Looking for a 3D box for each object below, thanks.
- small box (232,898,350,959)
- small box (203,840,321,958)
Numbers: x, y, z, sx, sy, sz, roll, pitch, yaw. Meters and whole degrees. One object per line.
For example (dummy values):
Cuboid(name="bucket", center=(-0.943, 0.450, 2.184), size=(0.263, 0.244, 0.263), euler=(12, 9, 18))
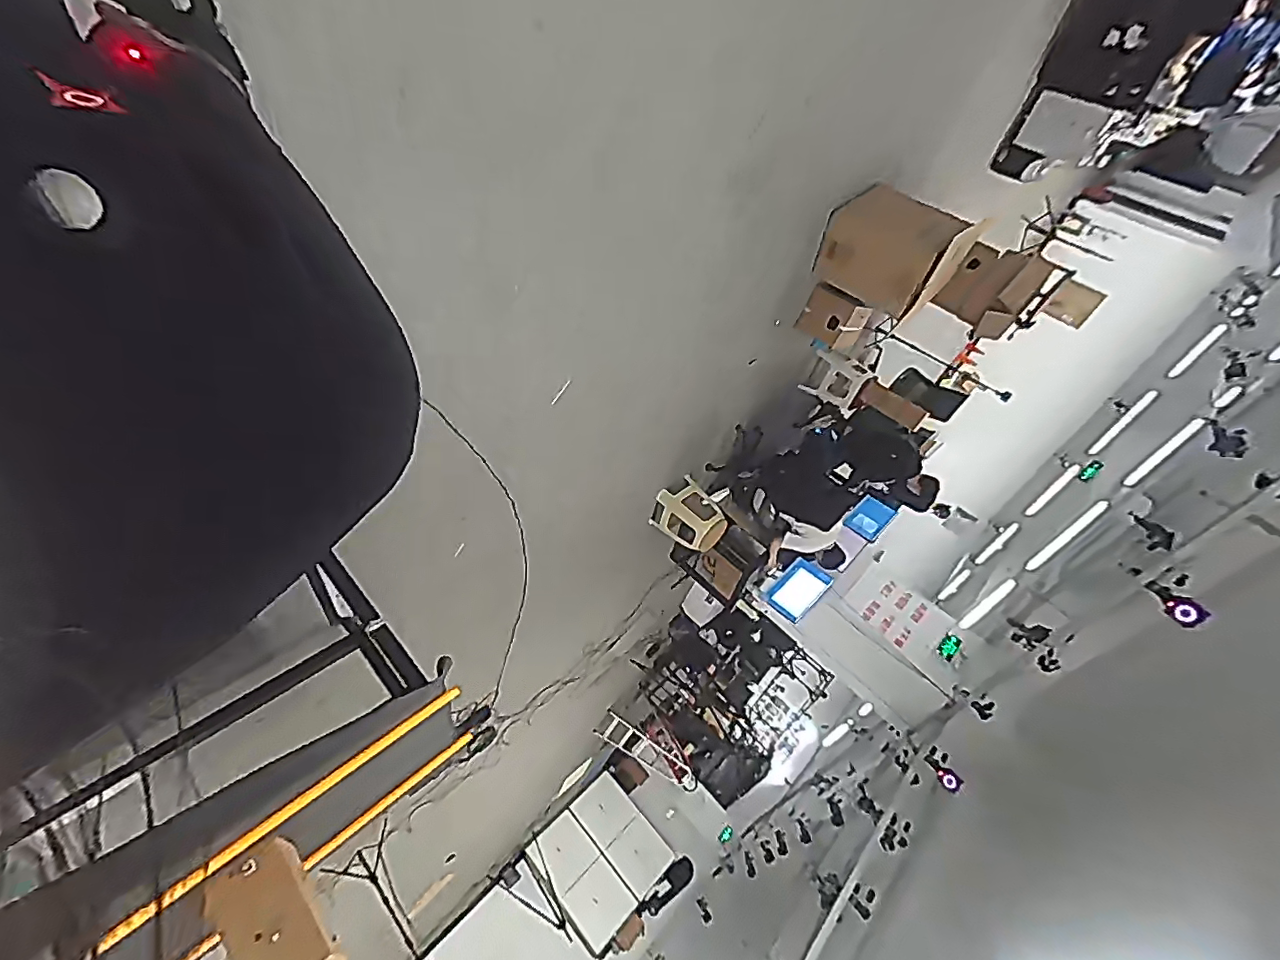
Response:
Cuboid(name="small box", center=(-0.822, 1.142, 1.284), size=(0.168, 0.176, 0.179), euler=(-33, 151, -36))
Cuboid(name="small box", center=(-0.938, 1.044, 1.349), size=(0.168, 0.176, 0.179), euler=(-34, 150, -35))
